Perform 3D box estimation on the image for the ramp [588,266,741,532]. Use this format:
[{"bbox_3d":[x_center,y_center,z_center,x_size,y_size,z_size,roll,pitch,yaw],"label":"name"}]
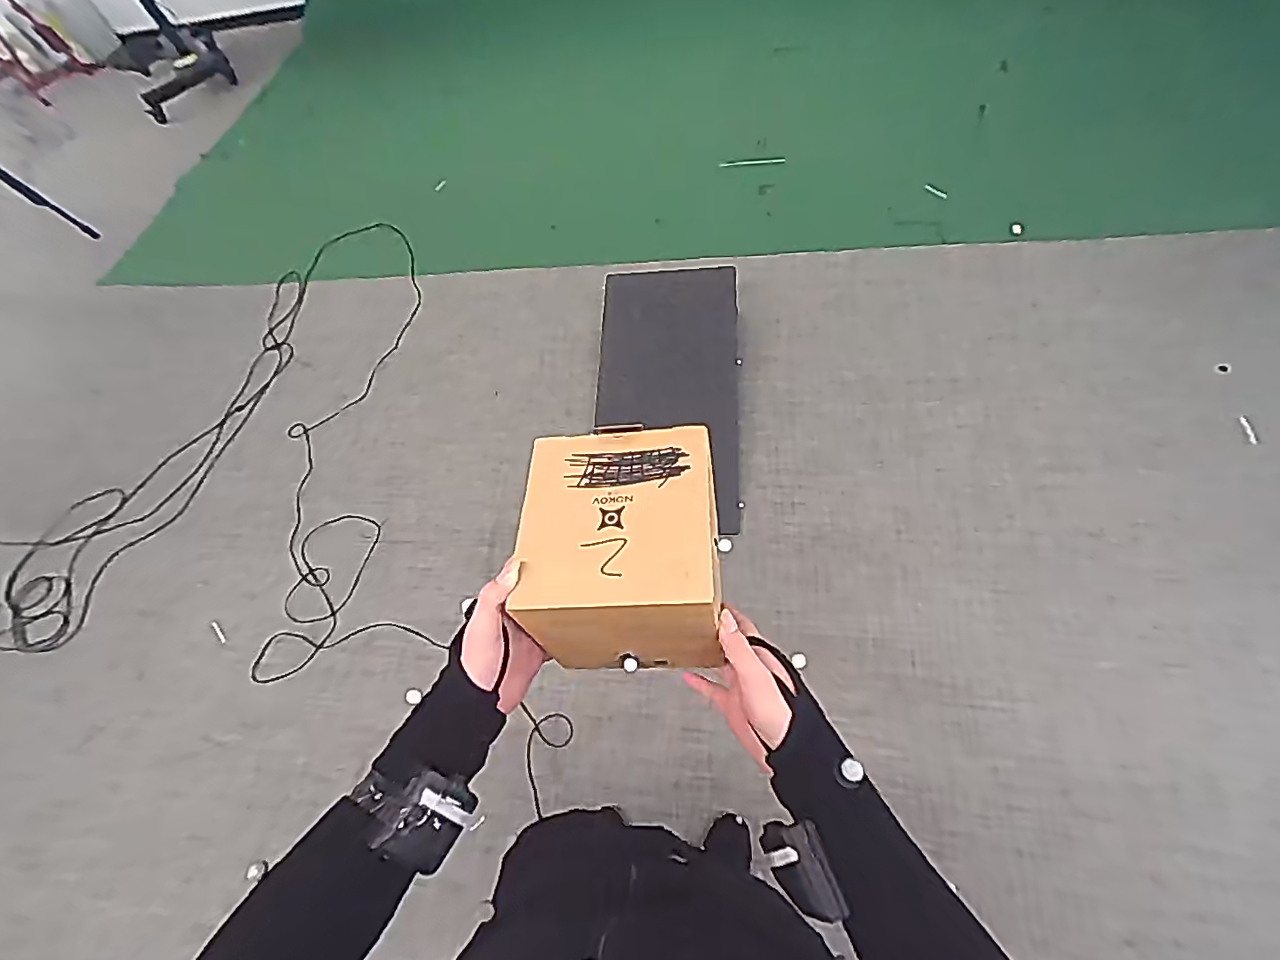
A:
[{"bbox_3d":[0.094,-0.310,1.863,0.509,0.206,0.991,-1,61,7],"label":"ramp"}]
